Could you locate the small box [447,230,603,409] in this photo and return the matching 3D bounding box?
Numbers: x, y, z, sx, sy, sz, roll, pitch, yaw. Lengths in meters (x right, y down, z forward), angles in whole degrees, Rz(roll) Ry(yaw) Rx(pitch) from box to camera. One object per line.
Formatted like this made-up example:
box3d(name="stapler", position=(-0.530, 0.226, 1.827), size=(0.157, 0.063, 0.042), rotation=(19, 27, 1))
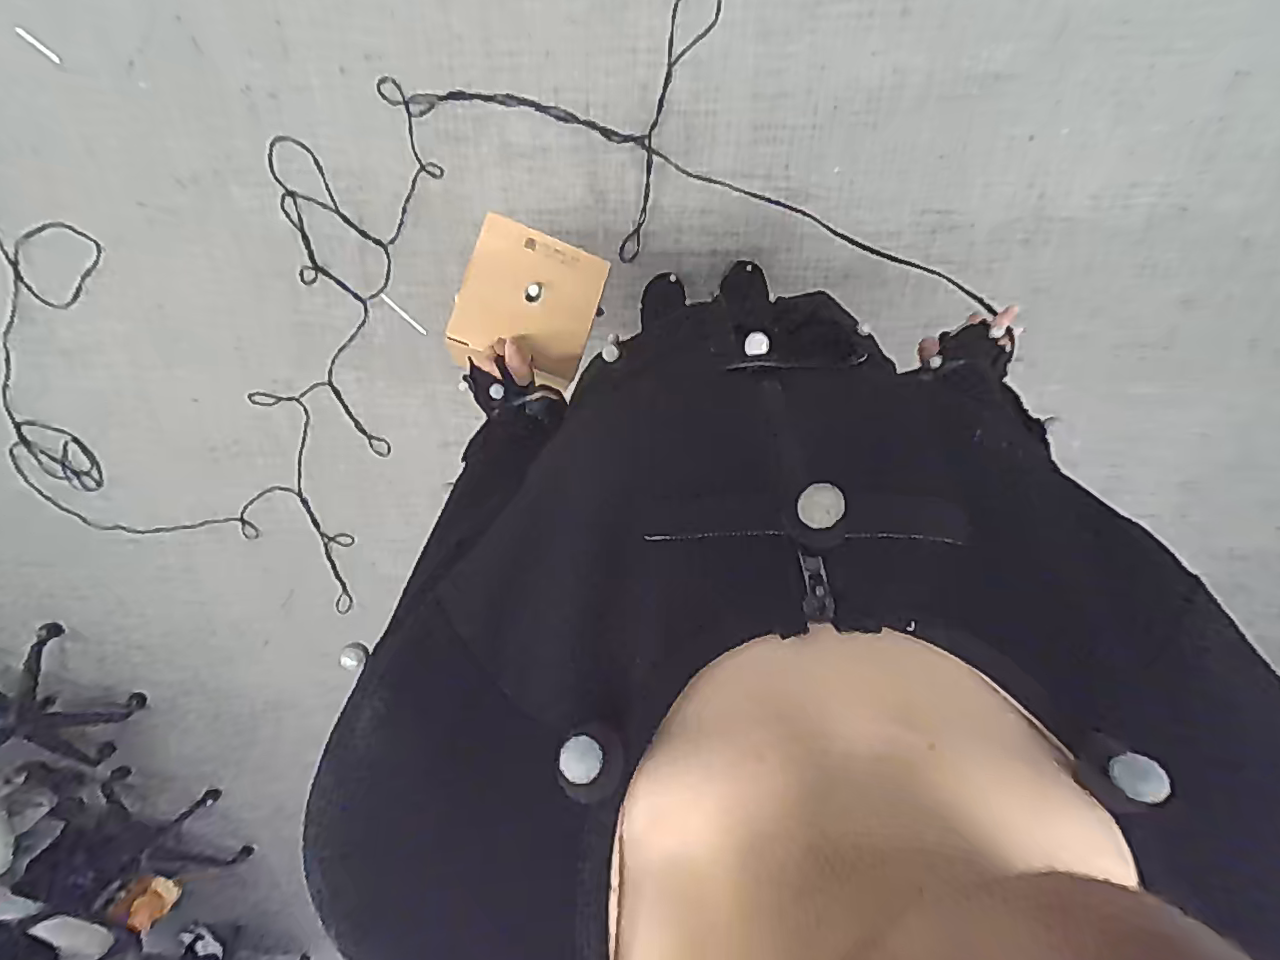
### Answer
box3d(name="small box", position=(-0.161, -0.216, 0.762), size=(0.168, 0.179, 0.176), rotation=(18, 84, -15))
